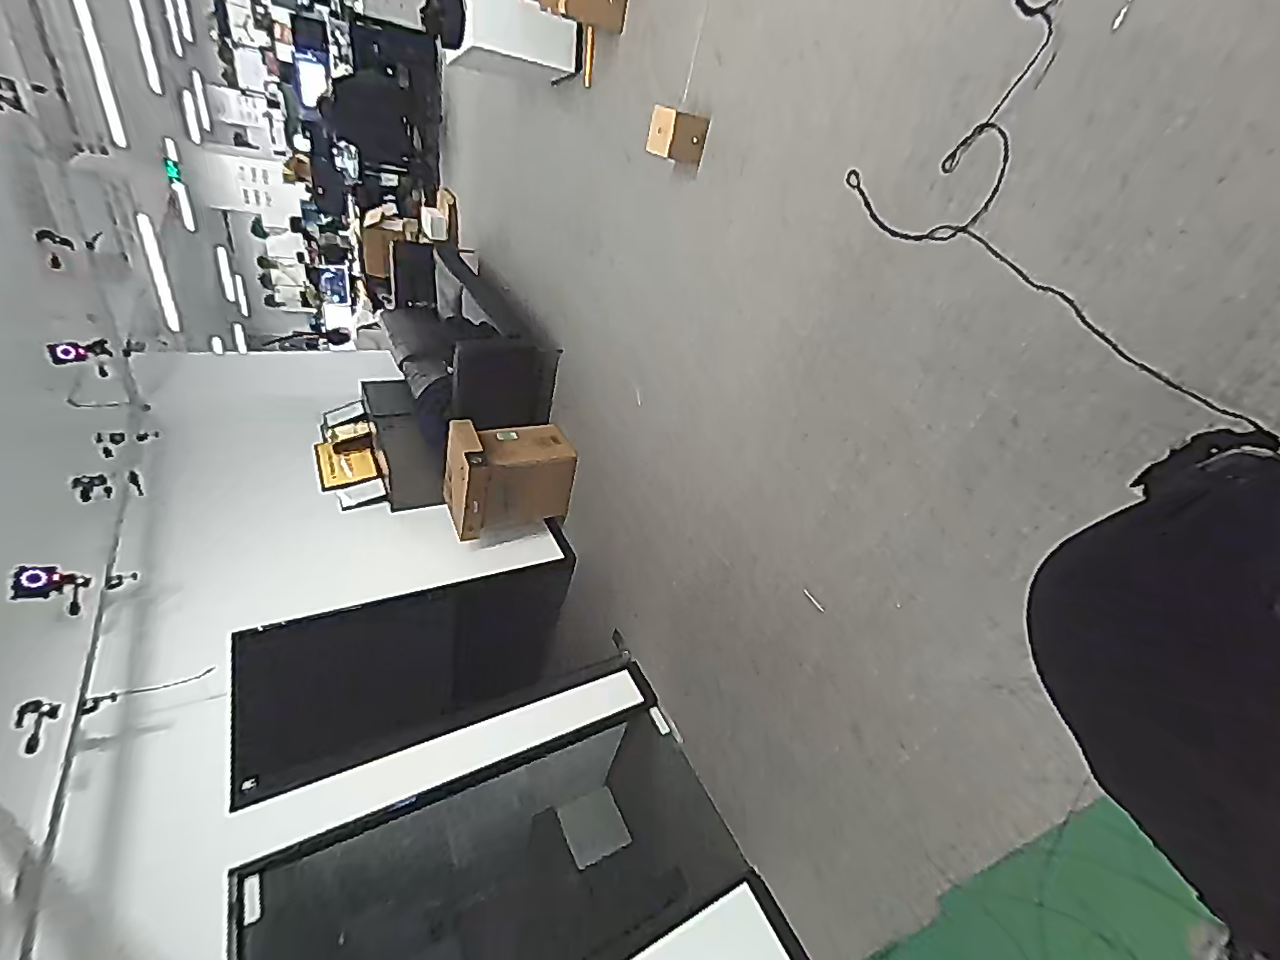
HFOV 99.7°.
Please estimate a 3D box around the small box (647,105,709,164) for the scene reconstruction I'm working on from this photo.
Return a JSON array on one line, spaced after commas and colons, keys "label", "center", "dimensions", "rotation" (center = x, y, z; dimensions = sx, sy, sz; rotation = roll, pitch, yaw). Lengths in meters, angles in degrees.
[{"label": "small box", "center": [0.154, -1.414, 2.215], "dimensions": [0.179, 0.176, 0.168], "rotation": [50, 139, 40]}]
